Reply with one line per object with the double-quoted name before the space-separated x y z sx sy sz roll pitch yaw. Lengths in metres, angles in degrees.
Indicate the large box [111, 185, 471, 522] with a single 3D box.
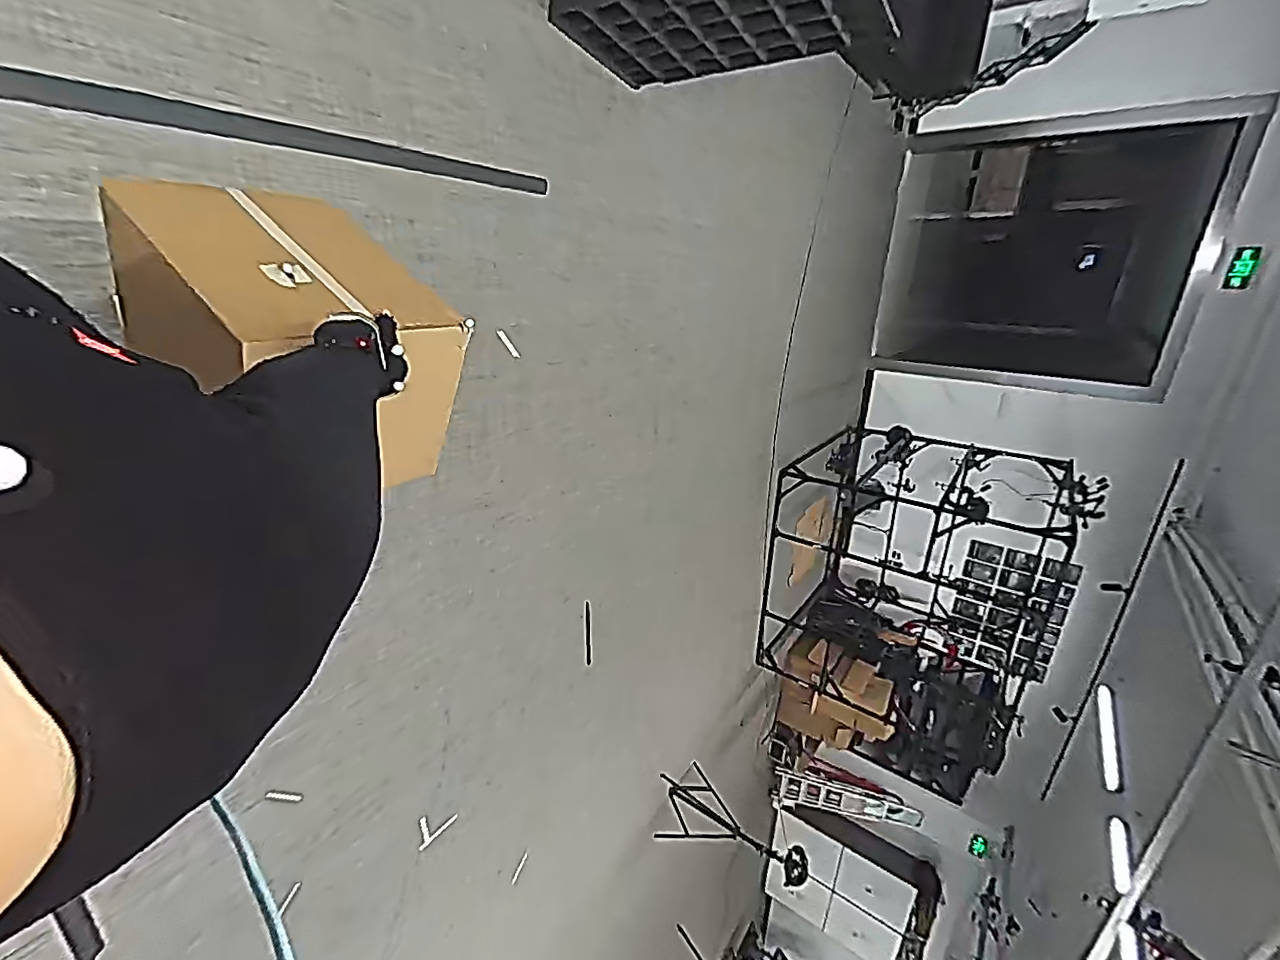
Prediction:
"large box" -0.556 -0.207 0.876 0.320 0.408 0.320 -26 153 -50
